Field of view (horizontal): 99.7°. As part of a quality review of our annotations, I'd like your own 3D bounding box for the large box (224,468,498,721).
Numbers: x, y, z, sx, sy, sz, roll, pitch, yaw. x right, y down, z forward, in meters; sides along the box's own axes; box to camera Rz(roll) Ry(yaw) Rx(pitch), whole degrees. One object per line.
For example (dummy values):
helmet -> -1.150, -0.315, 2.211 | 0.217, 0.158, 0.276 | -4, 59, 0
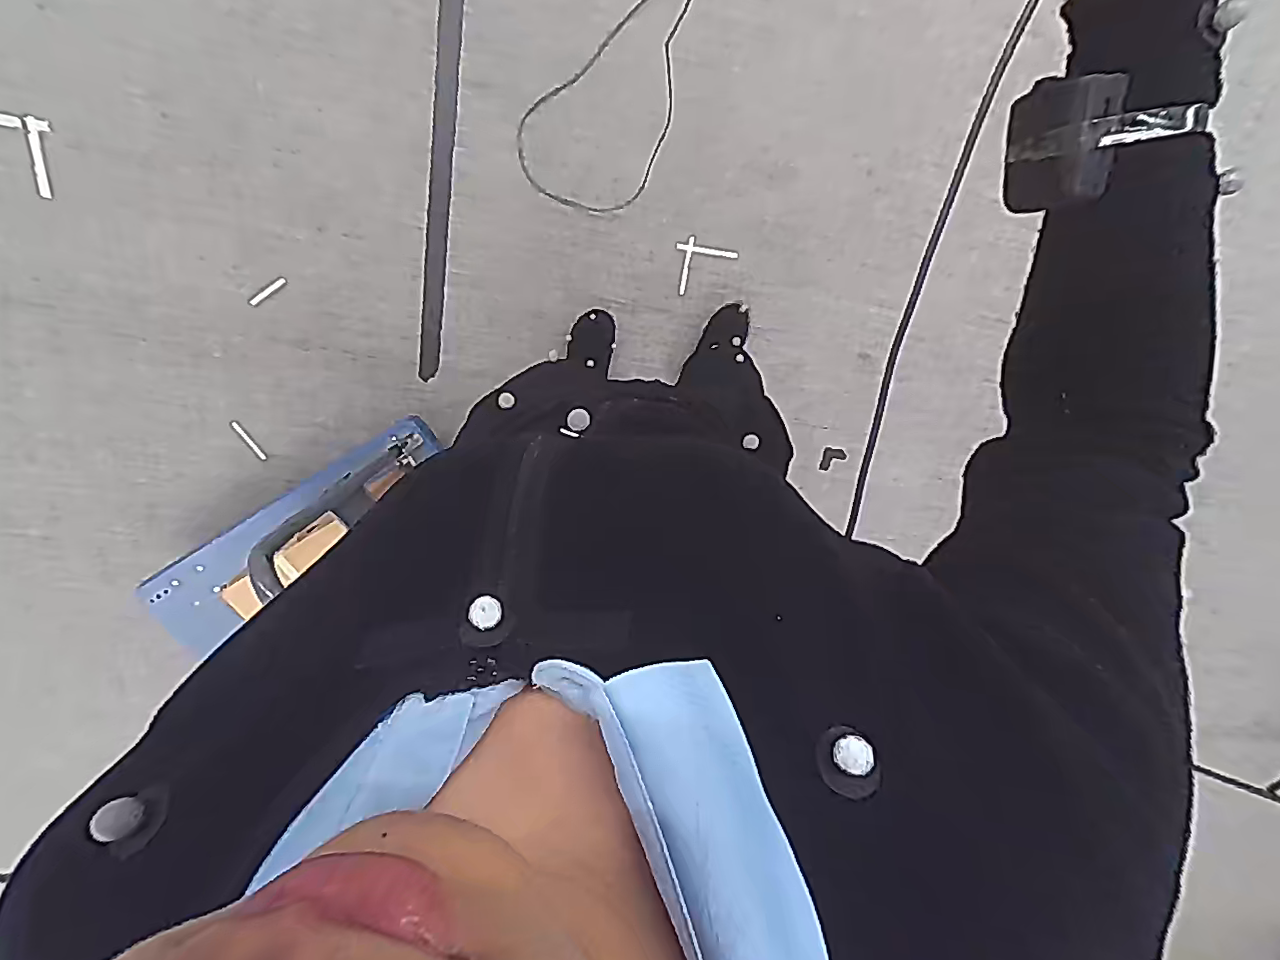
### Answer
large box -> -0.589, 0.247, 1.235 | 0.320, 0.320, 0.408 | -30, 108, 6
